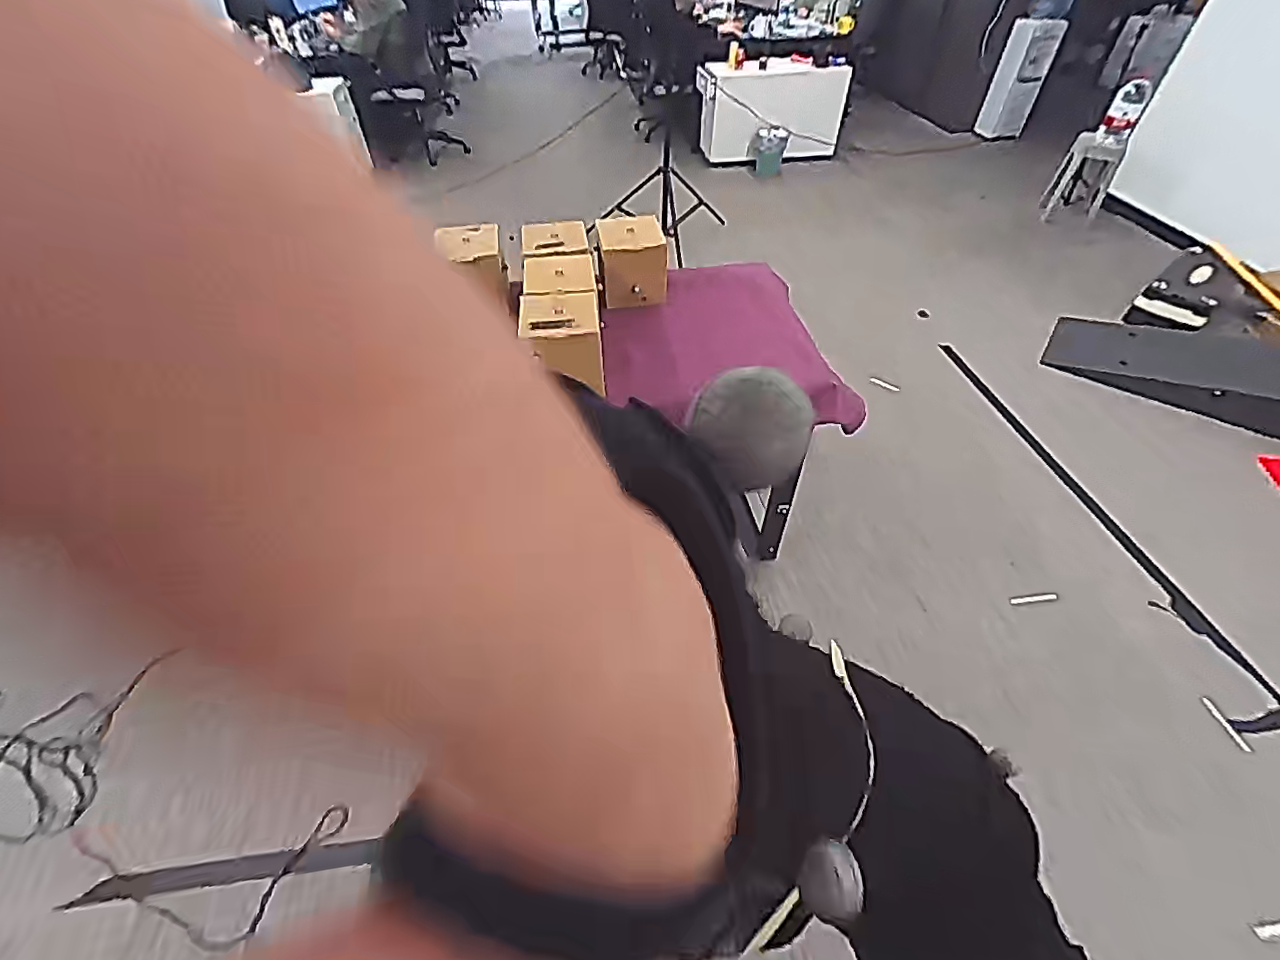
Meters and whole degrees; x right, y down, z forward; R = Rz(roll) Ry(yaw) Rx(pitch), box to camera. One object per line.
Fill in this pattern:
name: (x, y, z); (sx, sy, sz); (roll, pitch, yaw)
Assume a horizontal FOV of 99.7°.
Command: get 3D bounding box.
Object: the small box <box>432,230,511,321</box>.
small box: (-0.439, -0.537, 1.436); (0.168, 0.176, 0.179); (-7, 50, -6)
